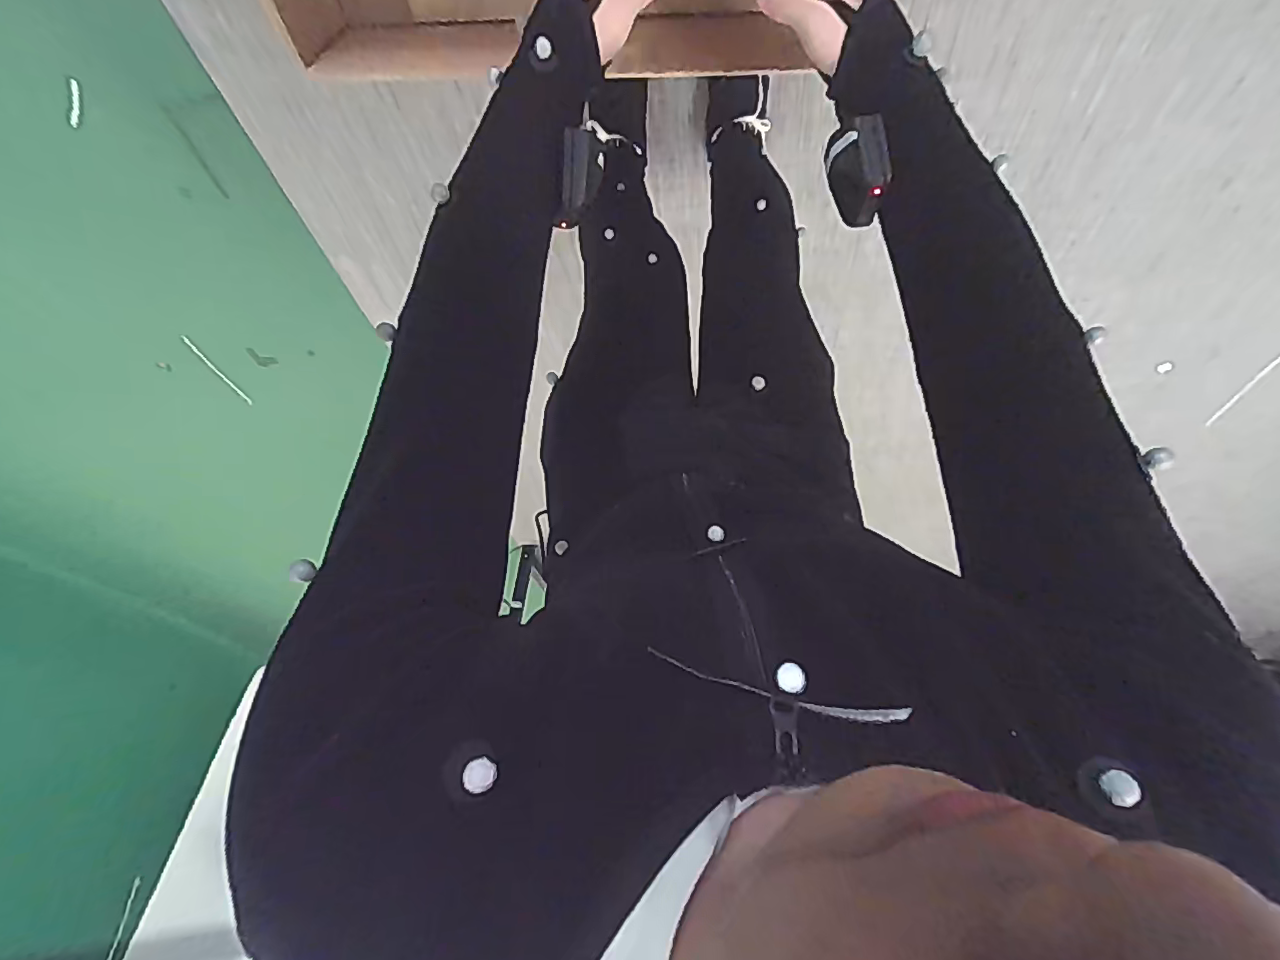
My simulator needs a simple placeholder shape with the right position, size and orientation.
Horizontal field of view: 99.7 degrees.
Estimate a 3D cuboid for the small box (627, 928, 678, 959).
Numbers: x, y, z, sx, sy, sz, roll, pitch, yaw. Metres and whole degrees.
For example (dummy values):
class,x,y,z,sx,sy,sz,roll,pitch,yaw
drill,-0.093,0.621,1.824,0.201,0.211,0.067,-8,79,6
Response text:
class,x,y,z,sx,sy,sz,roll,pitch,yaw
small box,0.045,1.657,1.851,0.168,0.176,0.179,-1,147,8
